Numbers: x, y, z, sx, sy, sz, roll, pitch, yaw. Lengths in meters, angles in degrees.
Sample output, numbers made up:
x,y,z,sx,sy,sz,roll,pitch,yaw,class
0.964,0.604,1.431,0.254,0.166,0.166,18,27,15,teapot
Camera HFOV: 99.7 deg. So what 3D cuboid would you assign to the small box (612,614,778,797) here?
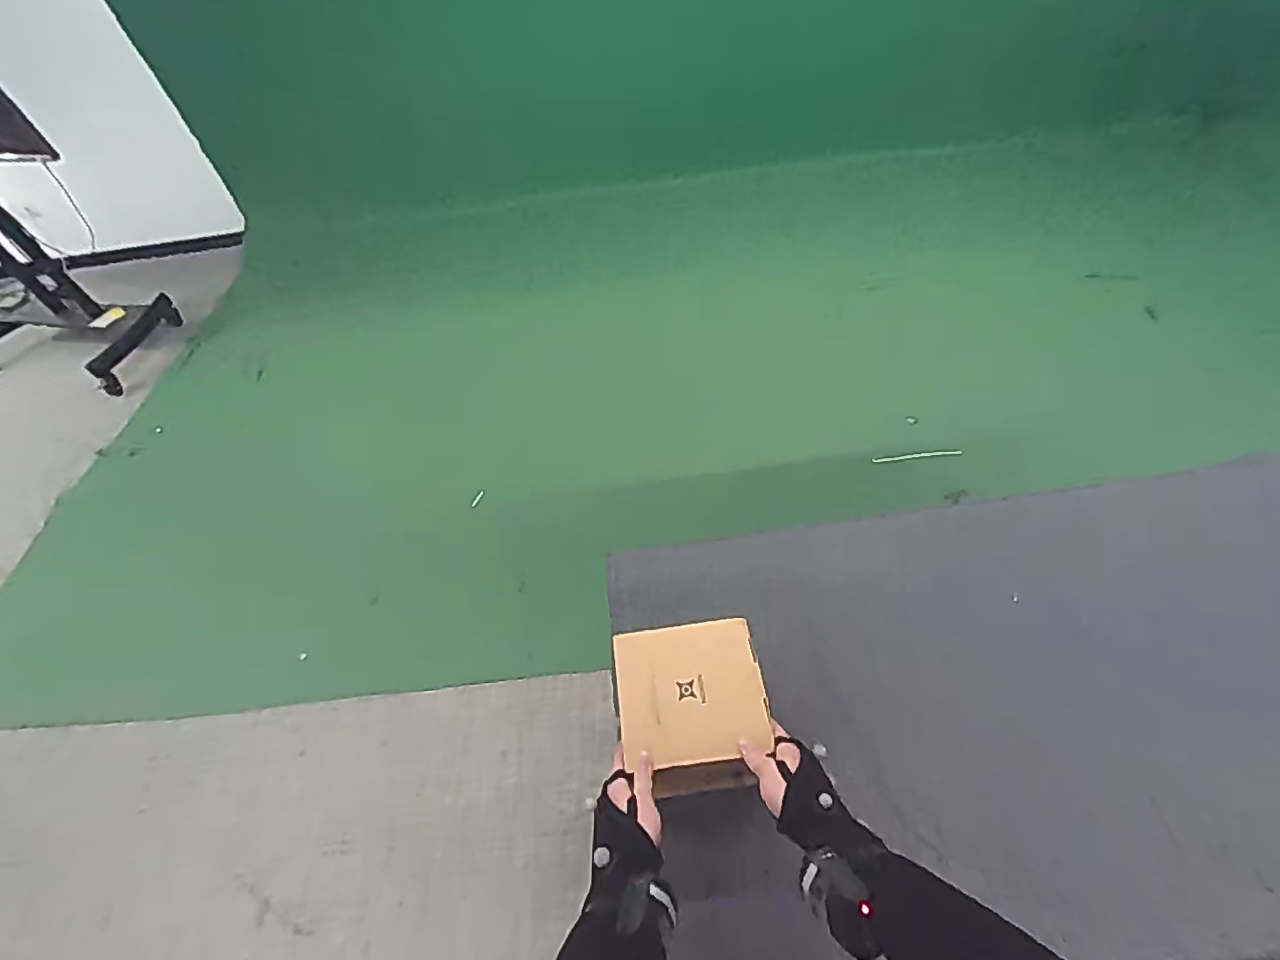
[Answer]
x,y,z,sx,sy,sz,roll,pitch,yaw,class
0.063,0.294,0.699,0.179,0.176,0.168,-8,49,0,small box
